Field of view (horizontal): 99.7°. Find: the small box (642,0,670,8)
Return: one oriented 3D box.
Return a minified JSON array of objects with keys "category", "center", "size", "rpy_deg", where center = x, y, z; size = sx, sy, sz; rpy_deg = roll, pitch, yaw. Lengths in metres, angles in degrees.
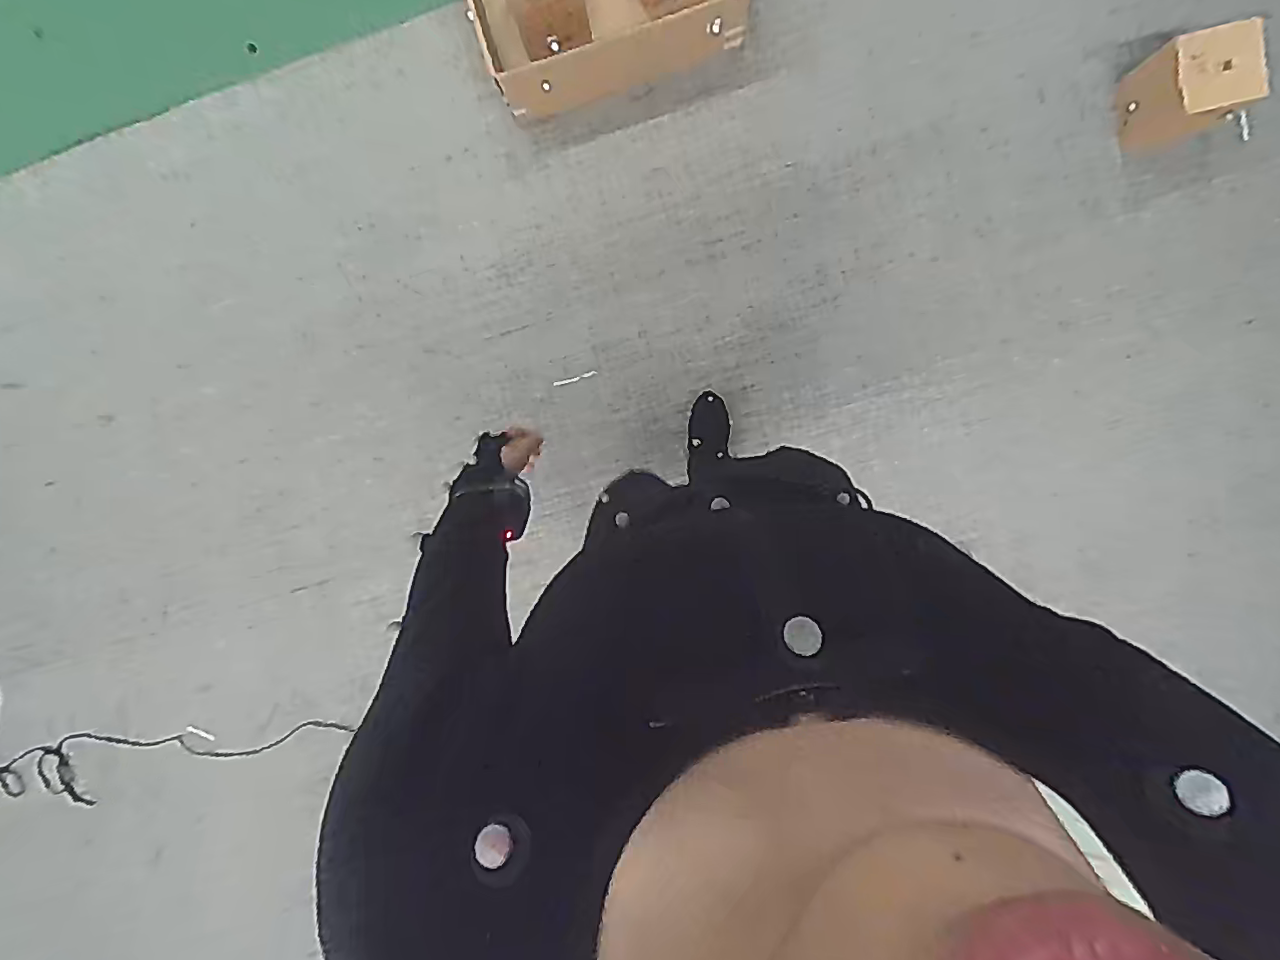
[{"category":"small box","center":[0.057,-1.227,1.207],"size":[0.168,0.176,0.179],"rpy_deg":[-18,97,6]}]

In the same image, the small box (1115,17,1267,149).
[{"category":"small box","center":[1.248,-0.896,1.236],"size":[0.179,0.176,0.168],"rpy_deg":[-11,95,4]}]
